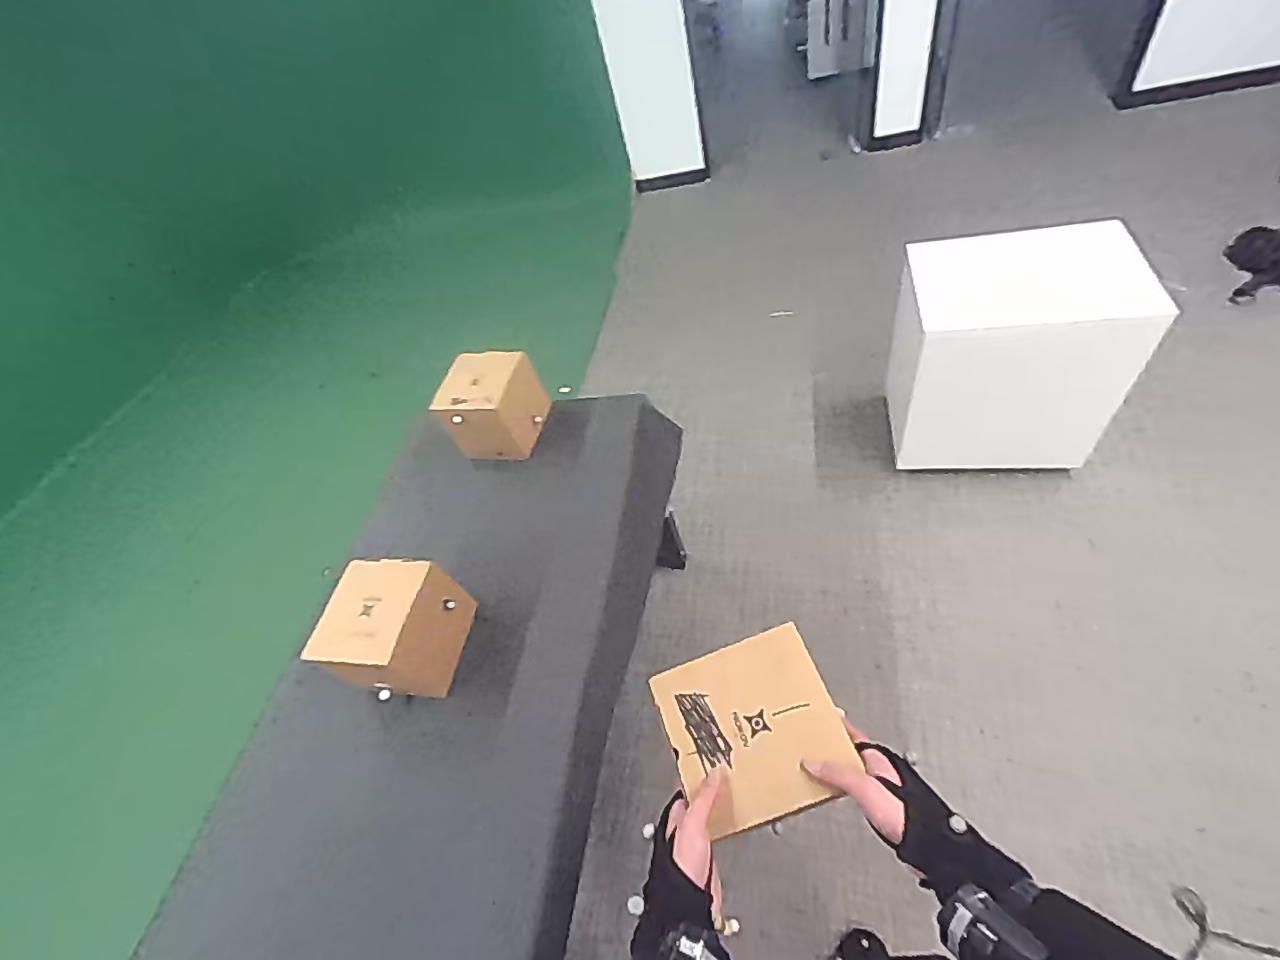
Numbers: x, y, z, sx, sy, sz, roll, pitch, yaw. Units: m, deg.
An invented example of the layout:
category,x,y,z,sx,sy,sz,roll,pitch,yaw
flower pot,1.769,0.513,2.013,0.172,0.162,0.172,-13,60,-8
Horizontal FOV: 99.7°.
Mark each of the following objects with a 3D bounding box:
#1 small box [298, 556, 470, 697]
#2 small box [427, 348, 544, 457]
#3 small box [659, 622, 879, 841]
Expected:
category,x,y,z,sx,sy,sz,roll,pitch,yaw
small box,-0.409,0.243,0.901,0.168,0.176,0.179,-2,54,16
small box,-0.329,-0.173,1.200,0.168,0.176,0.179,3,54,17
small box,0.141,0.288,0.611,0.179,0.176,0.168,-21,56,3
